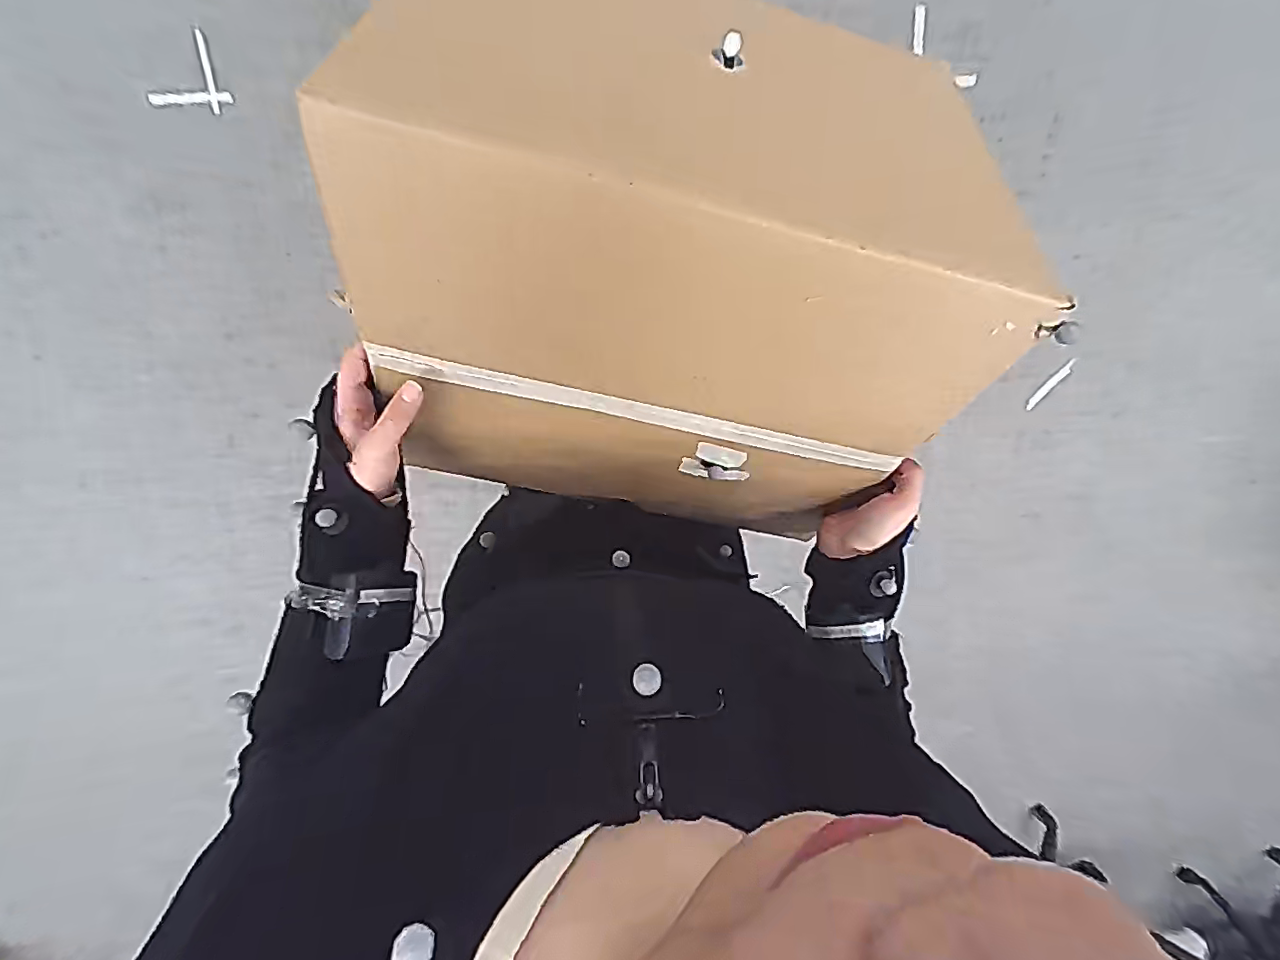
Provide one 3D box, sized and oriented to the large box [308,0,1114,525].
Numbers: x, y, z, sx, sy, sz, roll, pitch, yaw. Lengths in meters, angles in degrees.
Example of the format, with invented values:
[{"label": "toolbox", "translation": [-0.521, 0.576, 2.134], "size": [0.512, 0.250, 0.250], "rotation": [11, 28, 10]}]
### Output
[{"label": "large box", "translation": [0.031, -0.192, 0.455], "size": [0.408, 0.320, 0.320], "rotation": [10, 149, -8]}]
